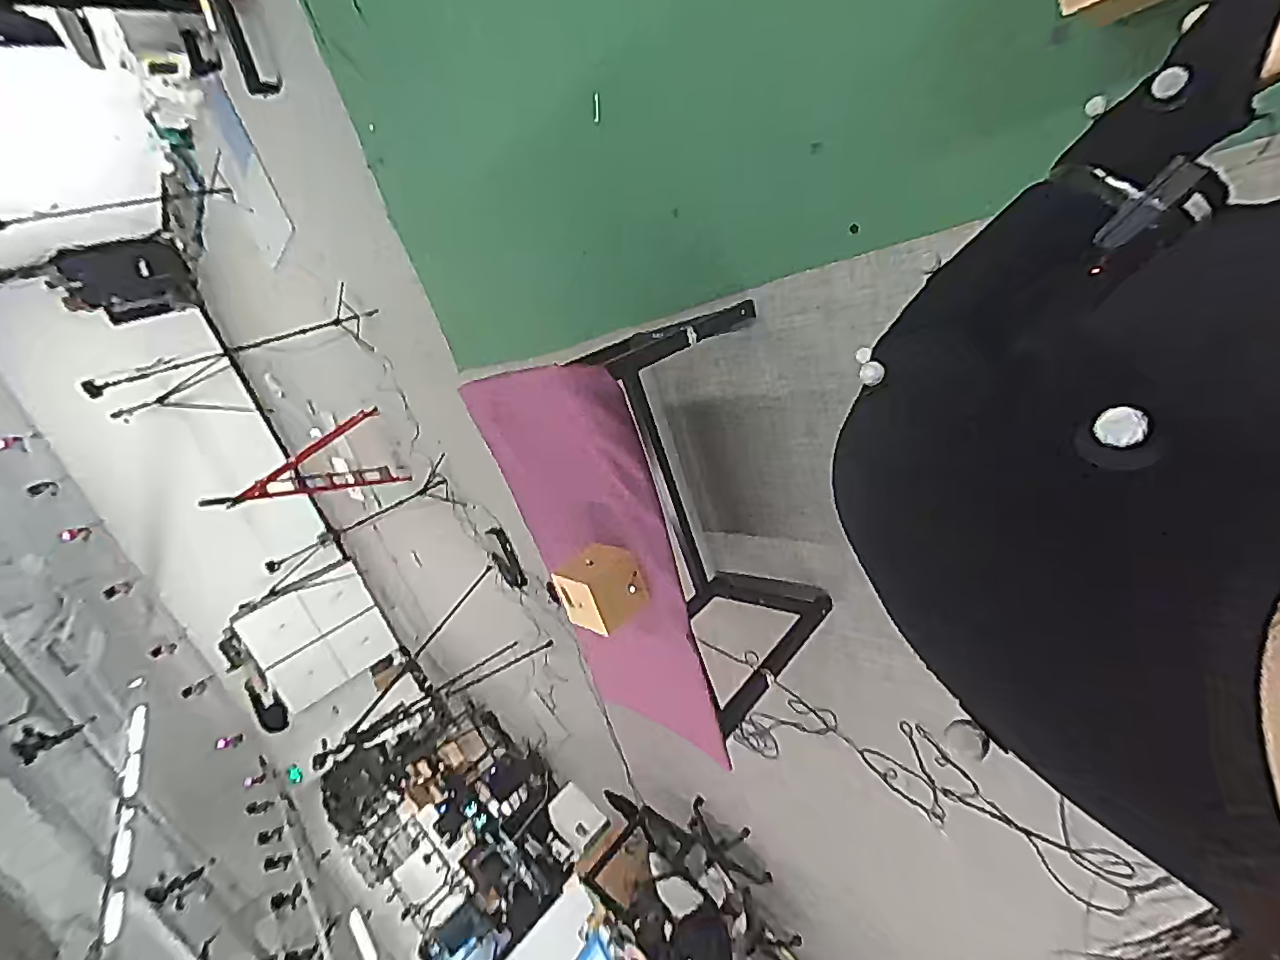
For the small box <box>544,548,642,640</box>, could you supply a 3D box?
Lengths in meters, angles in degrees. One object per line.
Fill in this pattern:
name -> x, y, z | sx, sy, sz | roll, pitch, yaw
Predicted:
small box -> -0.125, 0.300, 1.472 | 0.179, 0.176, 0.168 | 3, 118, 48
